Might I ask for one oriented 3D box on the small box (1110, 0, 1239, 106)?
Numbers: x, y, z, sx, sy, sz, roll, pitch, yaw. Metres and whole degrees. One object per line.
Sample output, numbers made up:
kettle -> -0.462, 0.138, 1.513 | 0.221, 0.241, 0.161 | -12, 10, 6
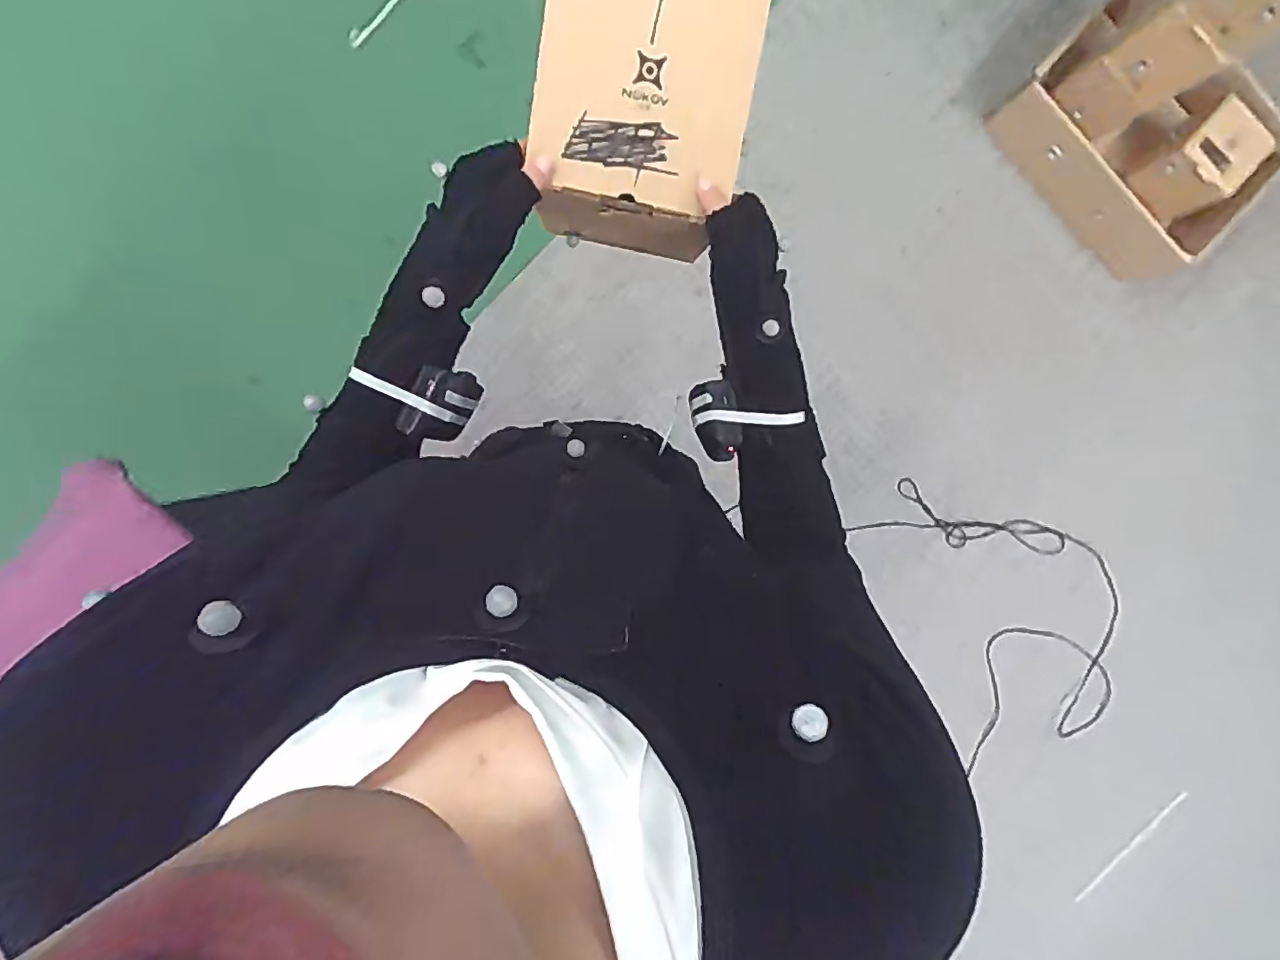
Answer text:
small box -> 1.175, -0.962, 1.152 | 0.168, 0.176, 0.179 | 43, 91, -8

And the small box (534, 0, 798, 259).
small box -> 0.012, -0.314, 0.483 | 0.168, 0.176, 0.179 | 13, 102, -8

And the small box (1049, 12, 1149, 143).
small box -> 1.160, -0.977, 1.314 | 0.168, 0.176, 0.179 | 44, 91, -7

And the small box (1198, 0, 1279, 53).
small box -> 1.192, -0.950, 0.990 | 0.168, 0.176, 0.179 | 41, 91, -9
